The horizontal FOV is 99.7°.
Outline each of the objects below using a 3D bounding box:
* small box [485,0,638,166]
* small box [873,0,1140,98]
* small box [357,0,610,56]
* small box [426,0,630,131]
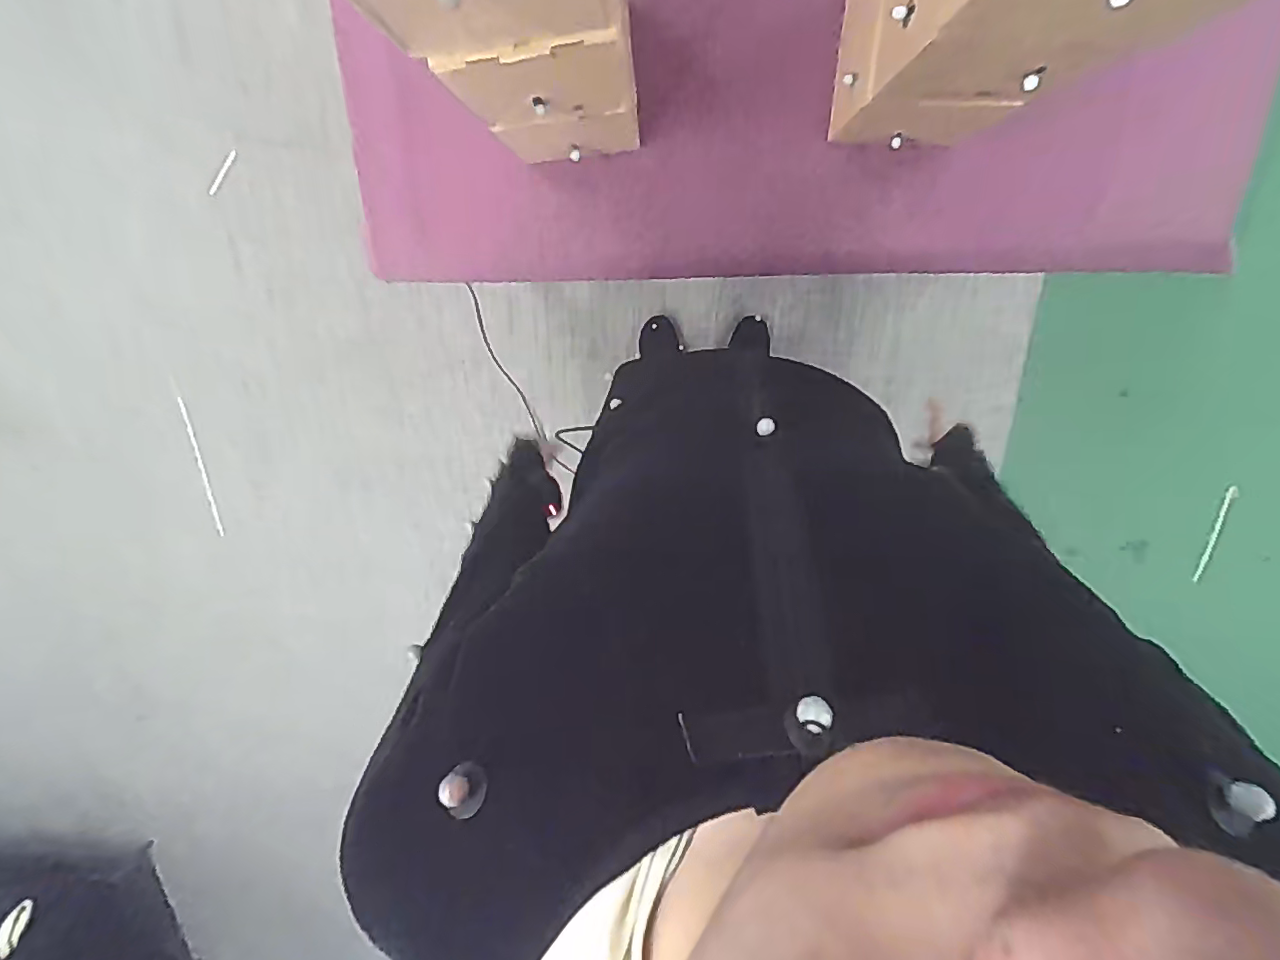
[{"bbox_3d":[-0.095,-0.509,0.662,0.168,0.176,0.179,-4,108,6],"label":"small box"},{"bbox_3d":[0.319,-0.456,0.470,0.168,0.176,0.179,2,109,4],"label":"small box"},{"bbox_3d":[-0.125,-0.414,0.351,0.179,0.176,0.168,-5,109,7],"label":"small box"},{"bbox_3d":[-0.106,-0.462,0.507,0.168,0.176,0.179,-6,108,6],"label":"small box"}]
